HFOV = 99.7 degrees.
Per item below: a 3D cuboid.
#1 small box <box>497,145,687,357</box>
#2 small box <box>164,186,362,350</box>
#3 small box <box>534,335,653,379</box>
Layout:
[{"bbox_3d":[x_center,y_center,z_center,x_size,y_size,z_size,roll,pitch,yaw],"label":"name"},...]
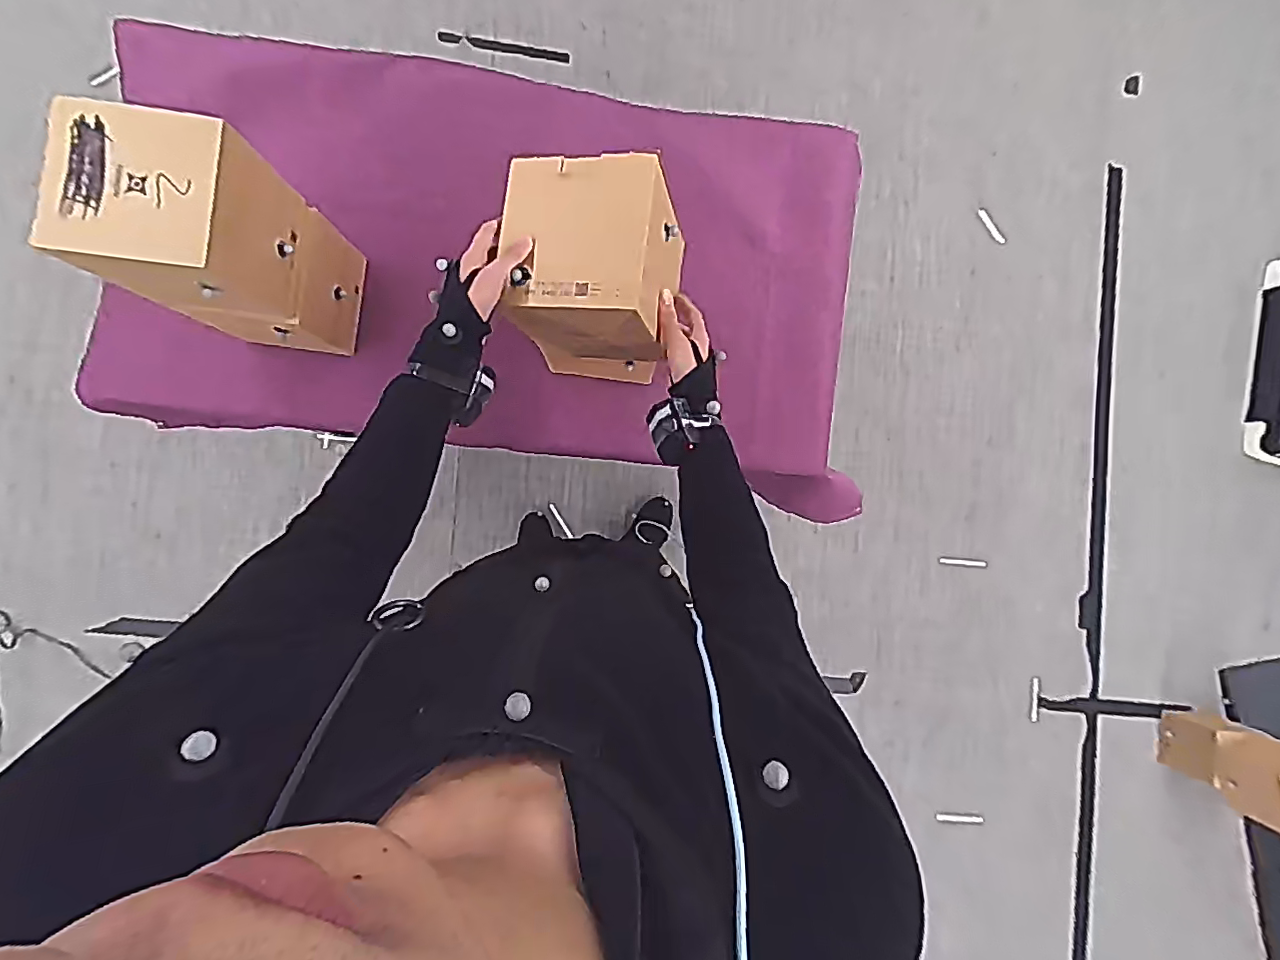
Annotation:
[{"bbox_3d":[-0.050,-0.249,0.630,0.168,0.179,0.176,7,86,17],"label":"small box"},{"bbox_3d":[-0.544,-0.301,0.807,0.179,0.176,0.168,7,88,-4],"label":"small box"},{"bbox_3d":[-0.058,-0.261,0.841,0.179,0.176,0.168,7,88,-4],"label":"small box"}]
